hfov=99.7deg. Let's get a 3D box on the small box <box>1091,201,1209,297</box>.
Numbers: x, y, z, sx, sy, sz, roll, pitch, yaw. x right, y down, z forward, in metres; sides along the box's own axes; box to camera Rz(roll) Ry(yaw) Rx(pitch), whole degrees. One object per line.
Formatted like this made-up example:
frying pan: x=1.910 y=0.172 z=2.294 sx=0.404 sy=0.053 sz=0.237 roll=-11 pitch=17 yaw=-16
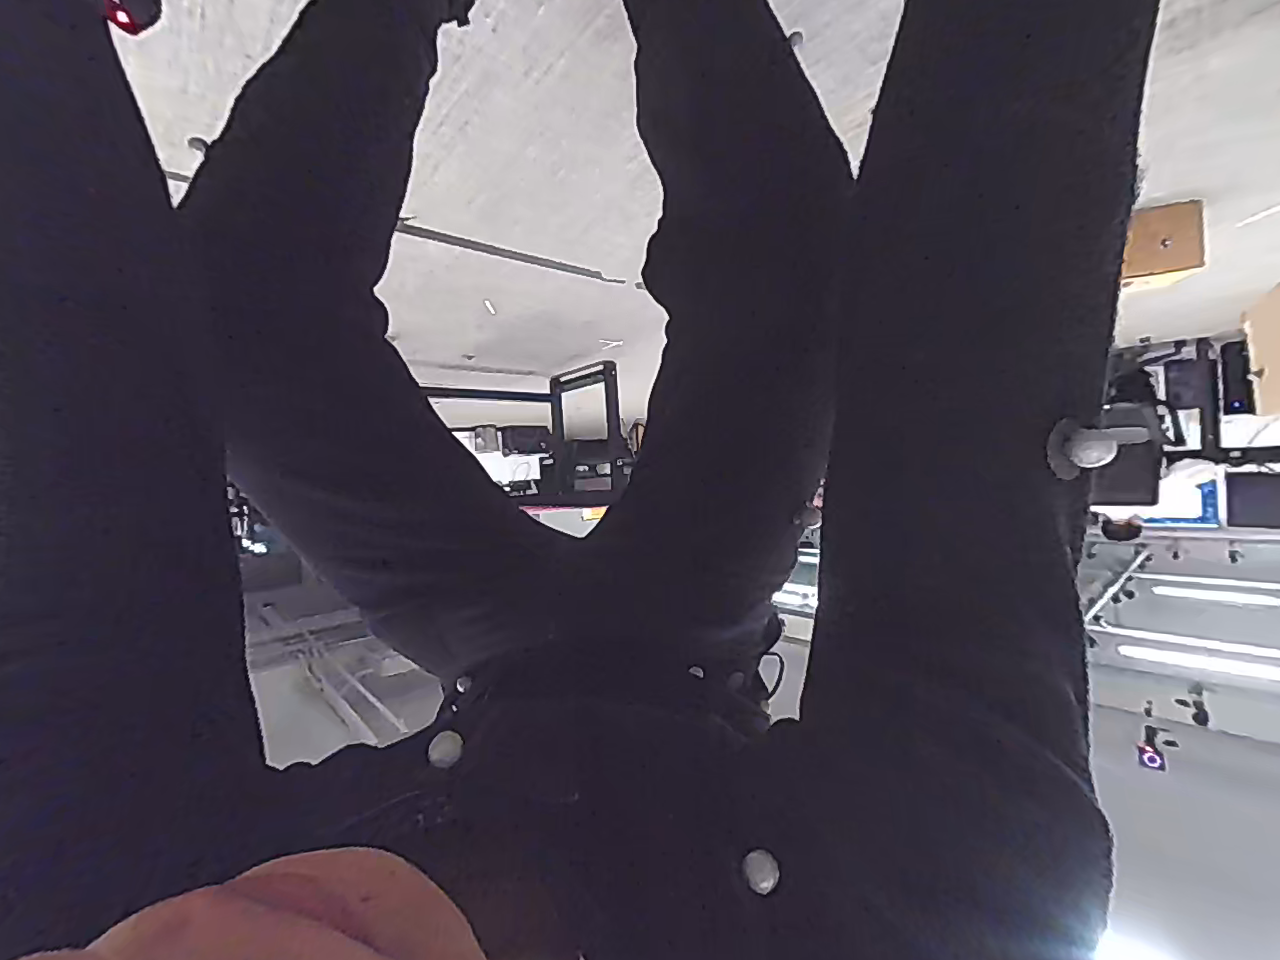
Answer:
small box: x=1.332 y=-0.604 z=1.426 sx=0.179 sy=0.176 sz=0.168 roll=-4 pitch=-179 yaw=17
